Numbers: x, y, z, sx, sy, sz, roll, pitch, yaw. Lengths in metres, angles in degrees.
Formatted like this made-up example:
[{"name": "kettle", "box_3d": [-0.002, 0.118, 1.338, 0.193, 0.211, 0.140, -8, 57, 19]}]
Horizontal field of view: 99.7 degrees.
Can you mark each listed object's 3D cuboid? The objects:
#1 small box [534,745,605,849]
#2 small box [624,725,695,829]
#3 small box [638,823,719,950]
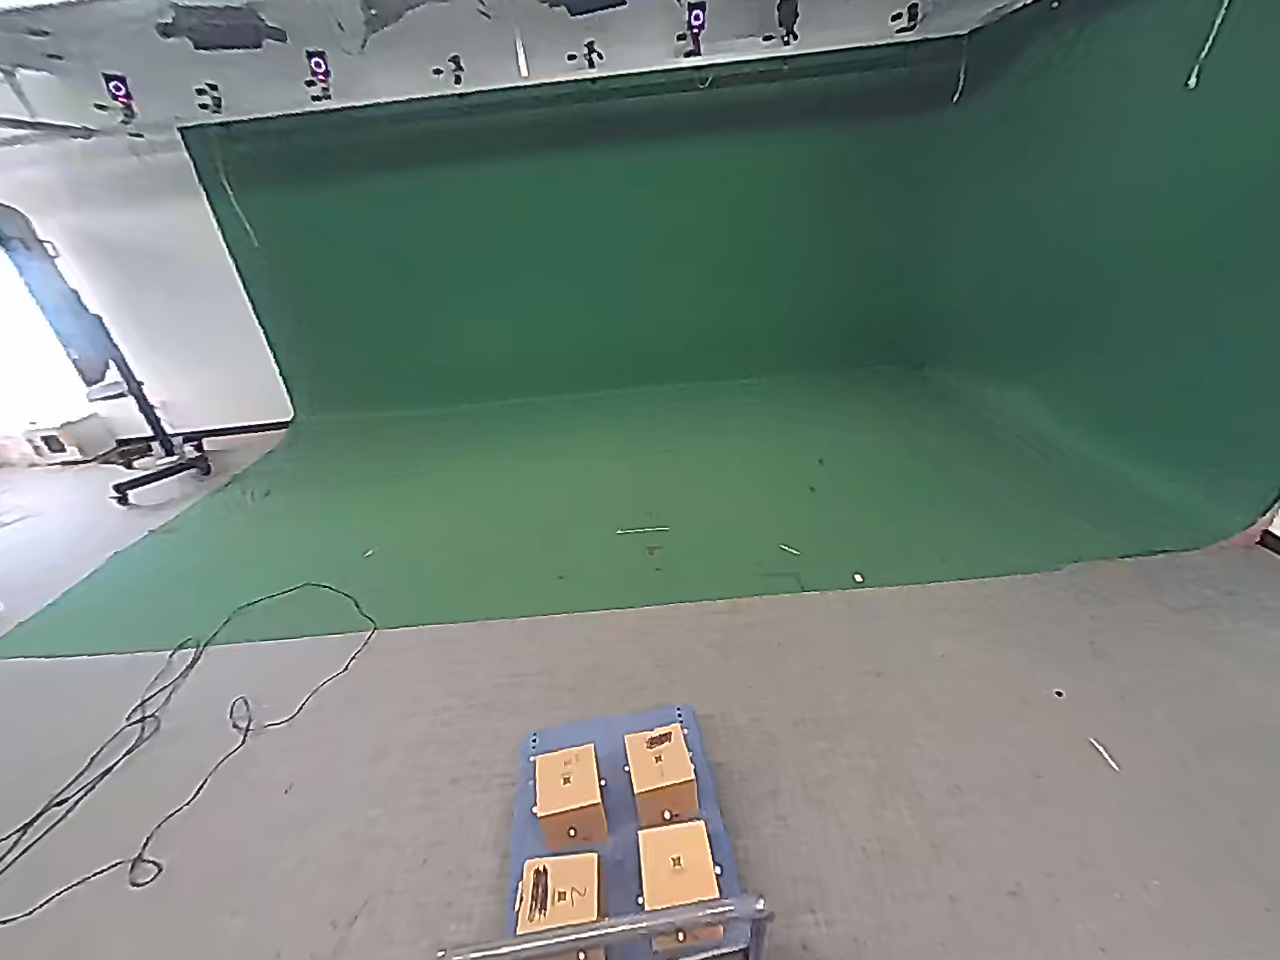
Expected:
[{"name": "small box", "box_3d": [-0.193, 0.869, 1.476, 0.168, 0.176, 0.179, -9, 28, -7]}, {"name": "small box", "box_3d": [0.053, 0.826, 1.508, 0.168, 0.176, 0.179, -10, 30, -6]}, {"name": "small box", "box_3d": [0.087, 0.952, 1.271, 0.168, 0.176, 0.179, -7, 29, -3]}]
